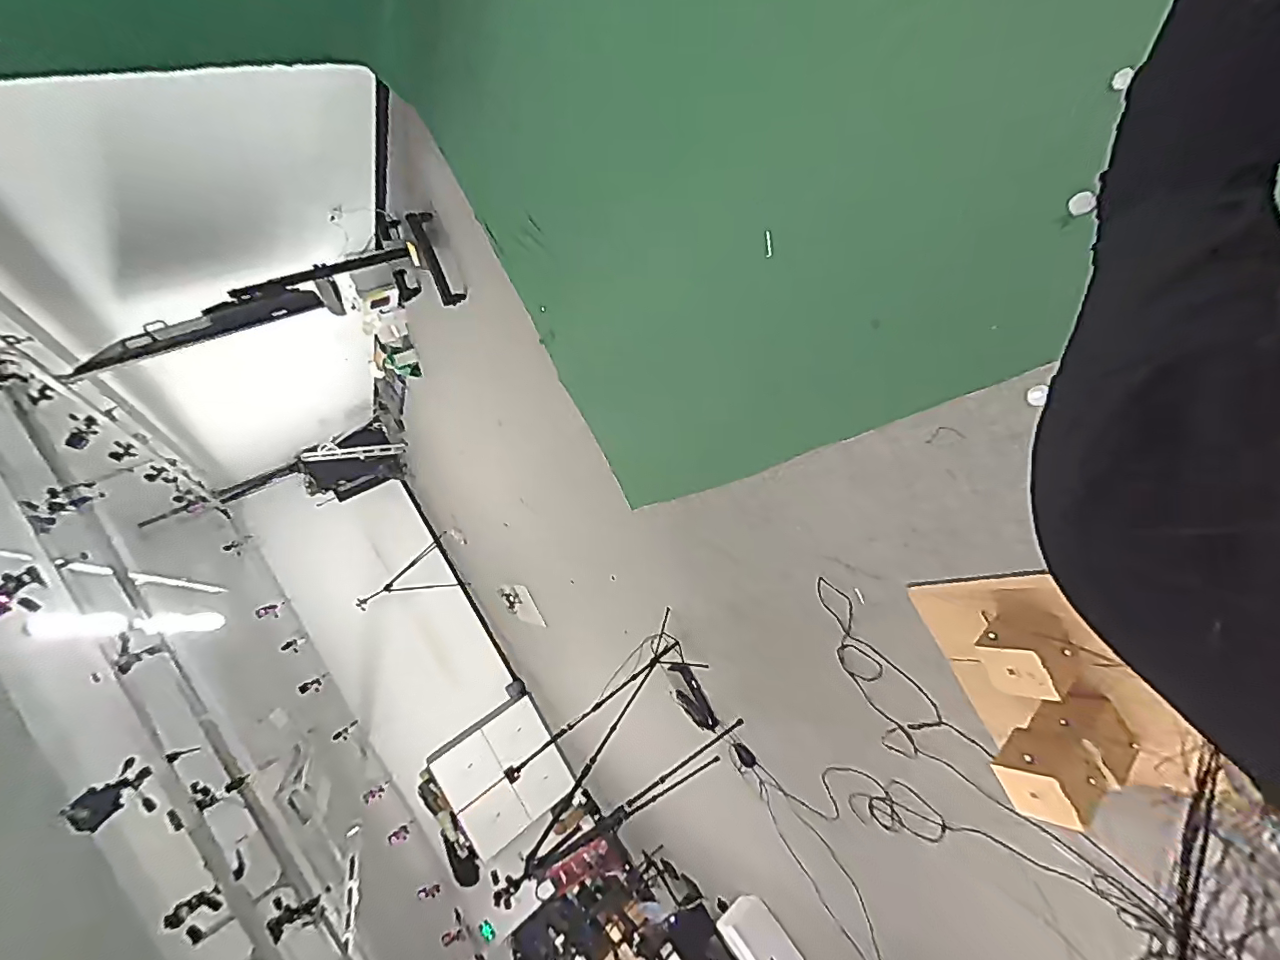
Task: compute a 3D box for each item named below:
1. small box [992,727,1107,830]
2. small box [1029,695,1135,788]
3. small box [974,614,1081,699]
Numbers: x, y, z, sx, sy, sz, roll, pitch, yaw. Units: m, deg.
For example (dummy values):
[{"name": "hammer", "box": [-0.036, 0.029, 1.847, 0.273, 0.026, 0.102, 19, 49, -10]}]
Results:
[{"name": "small box", "box": [1.141, 0.819, 1.507, 0.168, 0.176, 0.179, 60, 151, 0]}, {"name": "small box", "box": [1.278, 0.744, 1.561, 0.168, 0.176, 0.179, 58, 151, 3]}, {"name": "small box", "box": [1.132, 0.507, 1.579, 0.168, 0.176, 0.179, 61, 150, -4]}]
